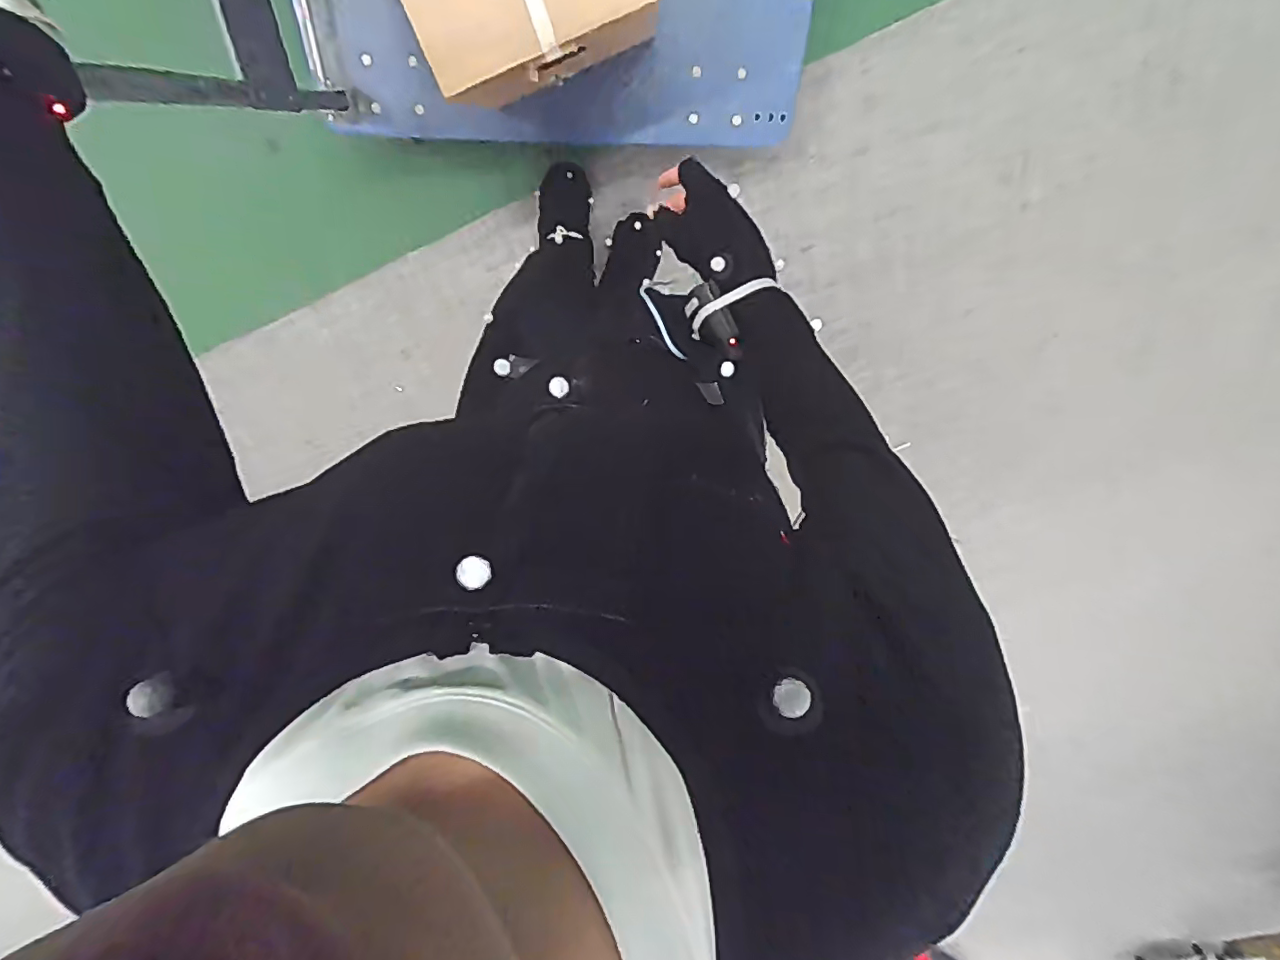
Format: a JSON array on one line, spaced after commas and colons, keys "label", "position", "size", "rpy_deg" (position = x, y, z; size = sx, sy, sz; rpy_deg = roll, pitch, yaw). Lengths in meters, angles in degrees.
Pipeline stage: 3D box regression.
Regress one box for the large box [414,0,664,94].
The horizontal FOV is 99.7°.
[{"label": "large box", "position": [-0.171, -0.808, 0.718], "size": [0.320, 0.320, 0.408], "rpy_deg": [-16, 121, 10]}]
